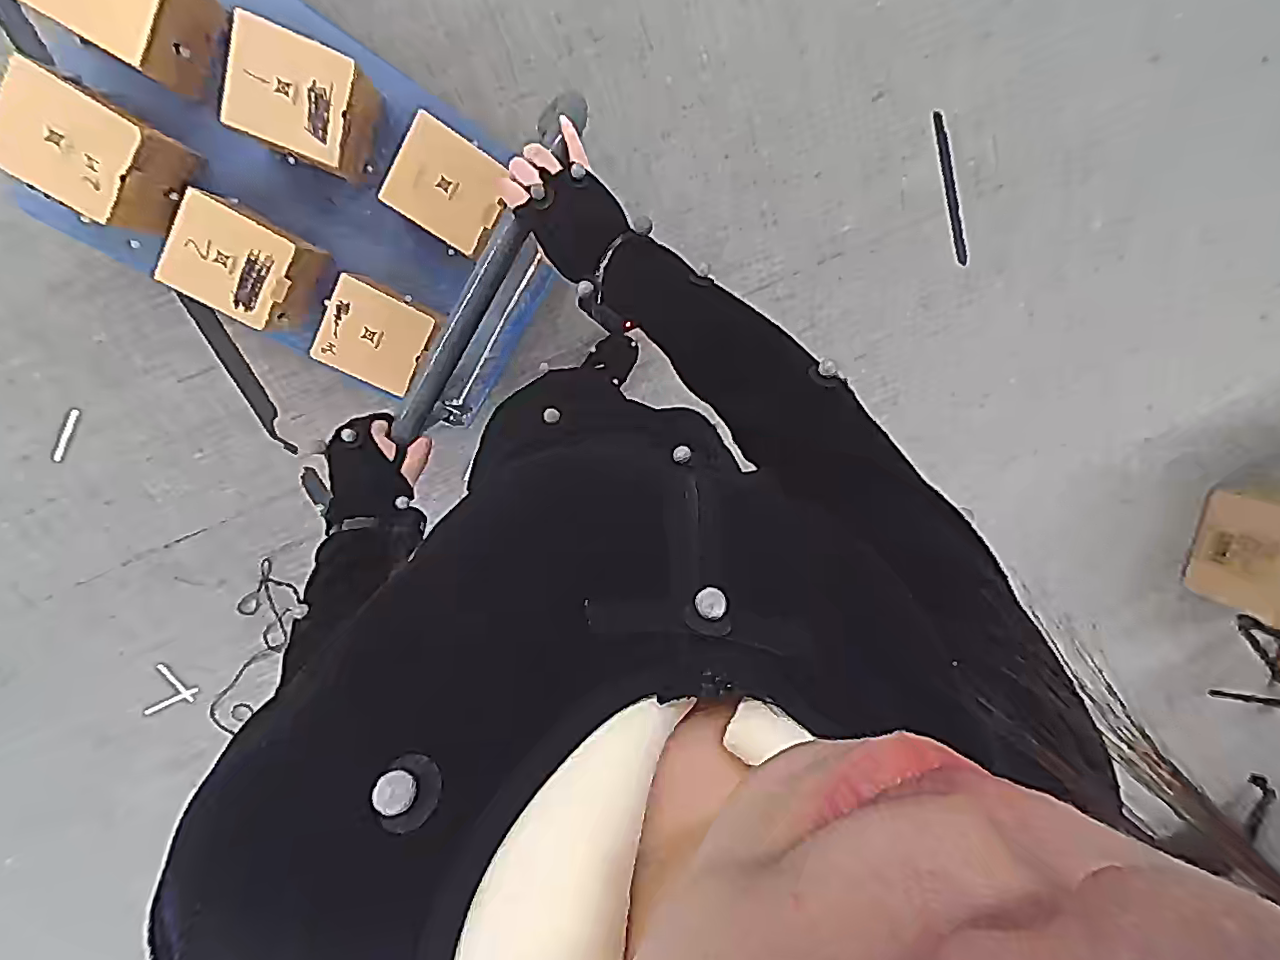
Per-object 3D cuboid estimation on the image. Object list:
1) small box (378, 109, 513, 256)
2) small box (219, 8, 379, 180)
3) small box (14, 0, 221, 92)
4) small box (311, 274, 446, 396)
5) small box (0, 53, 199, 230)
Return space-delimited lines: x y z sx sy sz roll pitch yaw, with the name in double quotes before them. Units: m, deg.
"small box" -0.351 -0.540 1.014 0.179 0.176 0.168 29 100 -19
"small box" -0.573 -0.643 0.931 0.179 0.176 0.168 16 104 -15
"small box" -0.809 -0.751 0.846 0.179 0.176 0.168 25 102 -19
"small box" -0.501 -0.287 1.065 0.179 0.176 0.168 25 101 -19
"small box" -0.897 -0.539 0.897 0.179 0.176 0.168 30 100 -20
